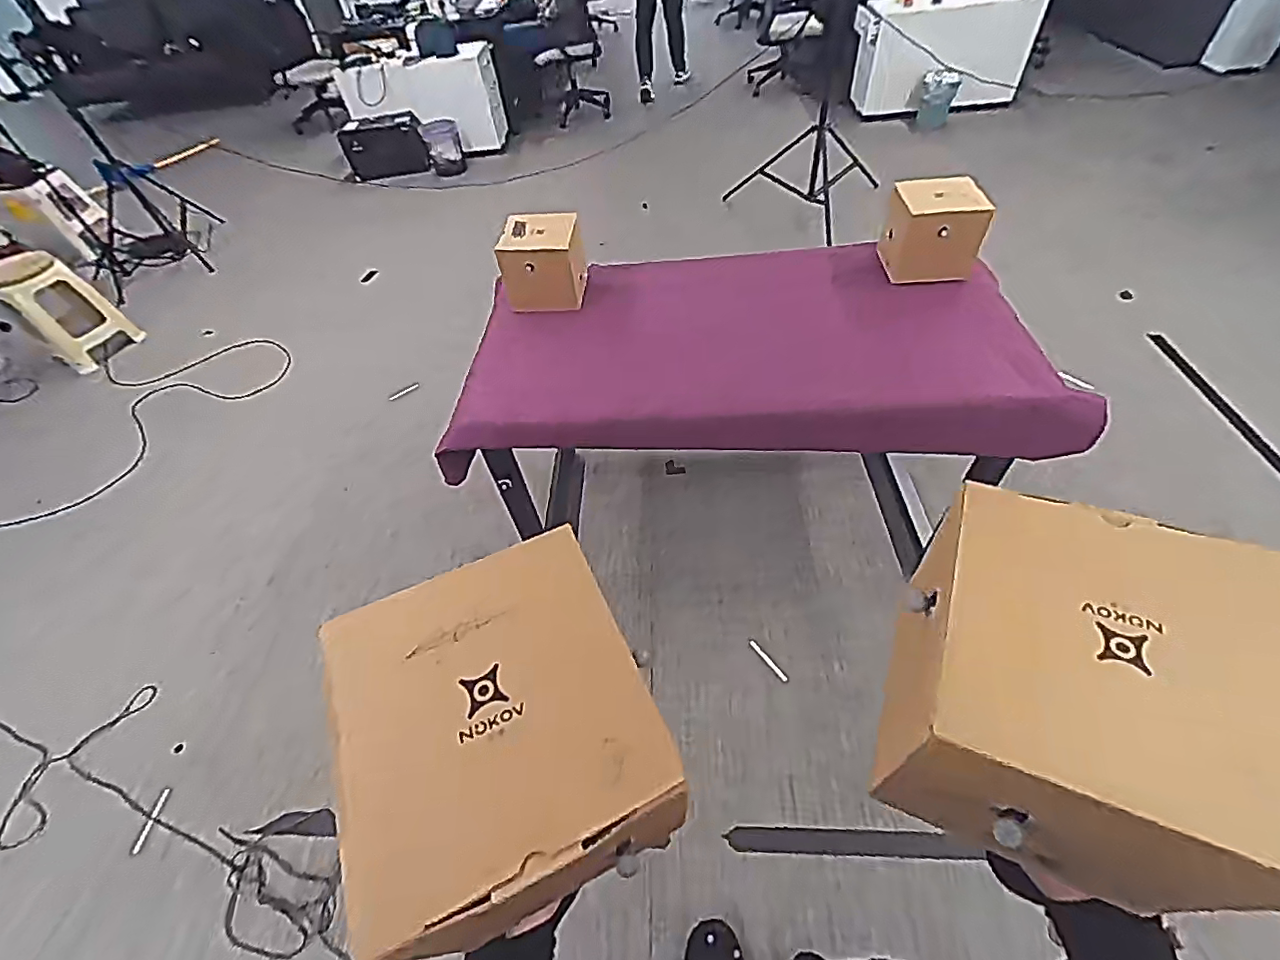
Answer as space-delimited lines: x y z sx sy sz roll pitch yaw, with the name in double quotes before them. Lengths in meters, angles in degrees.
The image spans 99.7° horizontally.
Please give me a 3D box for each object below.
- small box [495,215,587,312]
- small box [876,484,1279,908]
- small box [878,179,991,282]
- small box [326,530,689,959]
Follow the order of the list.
"small box" -0.238 -0.535 1.345 0.179 0.176 0.168 1 53 5
"small box" 0.262 0.136 0.345 0.168 0.176 0.179 16 54 21
"small box" 0.681 -0.586 1.280 0.179 0.176 0.168 -1 51 5
"small box" -0.079 0.171 0.363 0.168 0.176 0.179 -22 53 -15
